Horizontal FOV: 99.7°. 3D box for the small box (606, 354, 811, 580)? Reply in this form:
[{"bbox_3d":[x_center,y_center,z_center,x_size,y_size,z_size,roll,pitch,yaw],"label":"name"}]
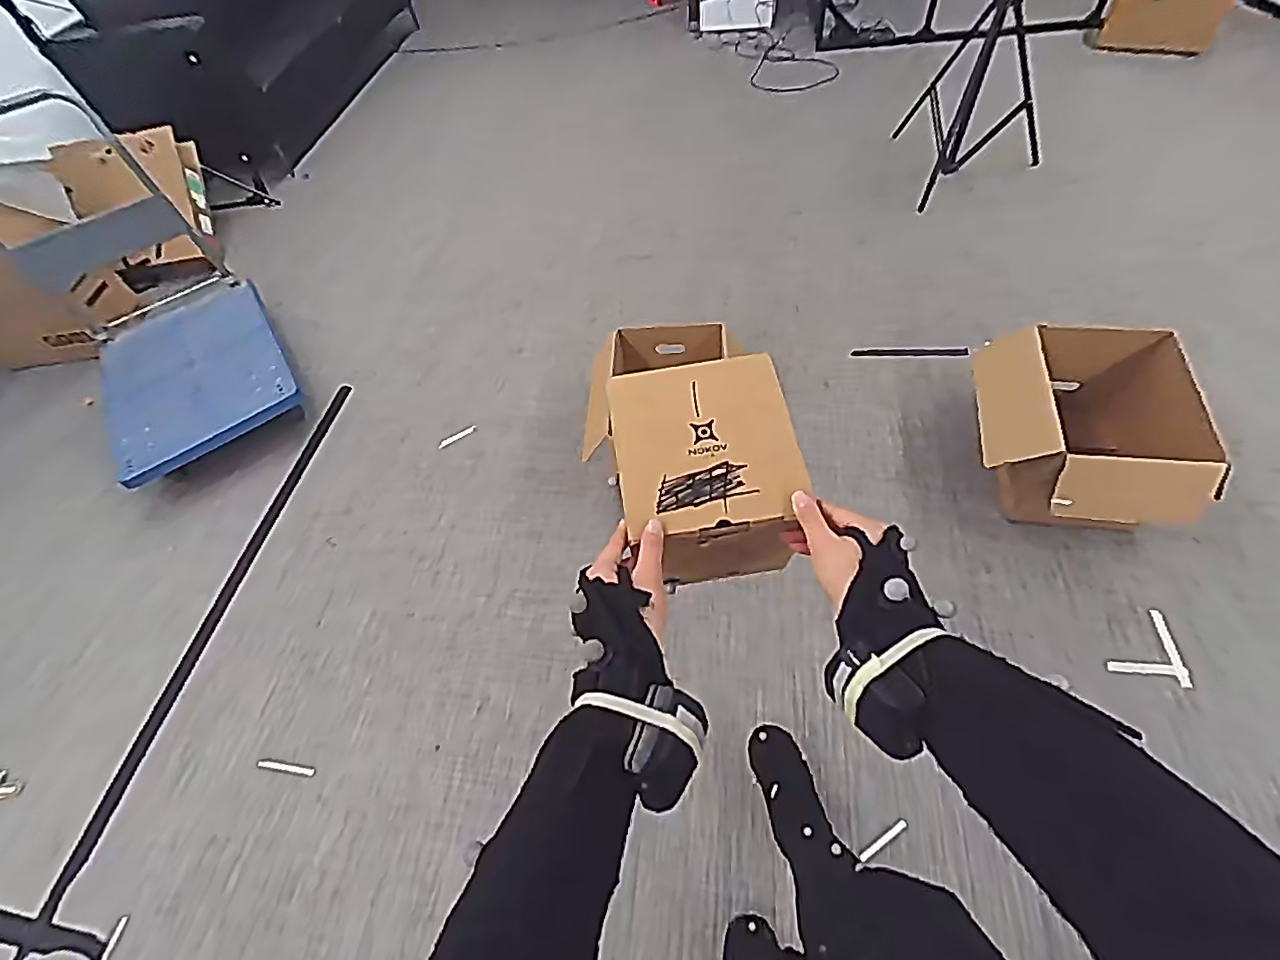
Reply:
[{"bbox_3d":[0.063,-0.002,0.572,0.168,0.176,0.179,-9,63,-1],"label":"small box"}]
